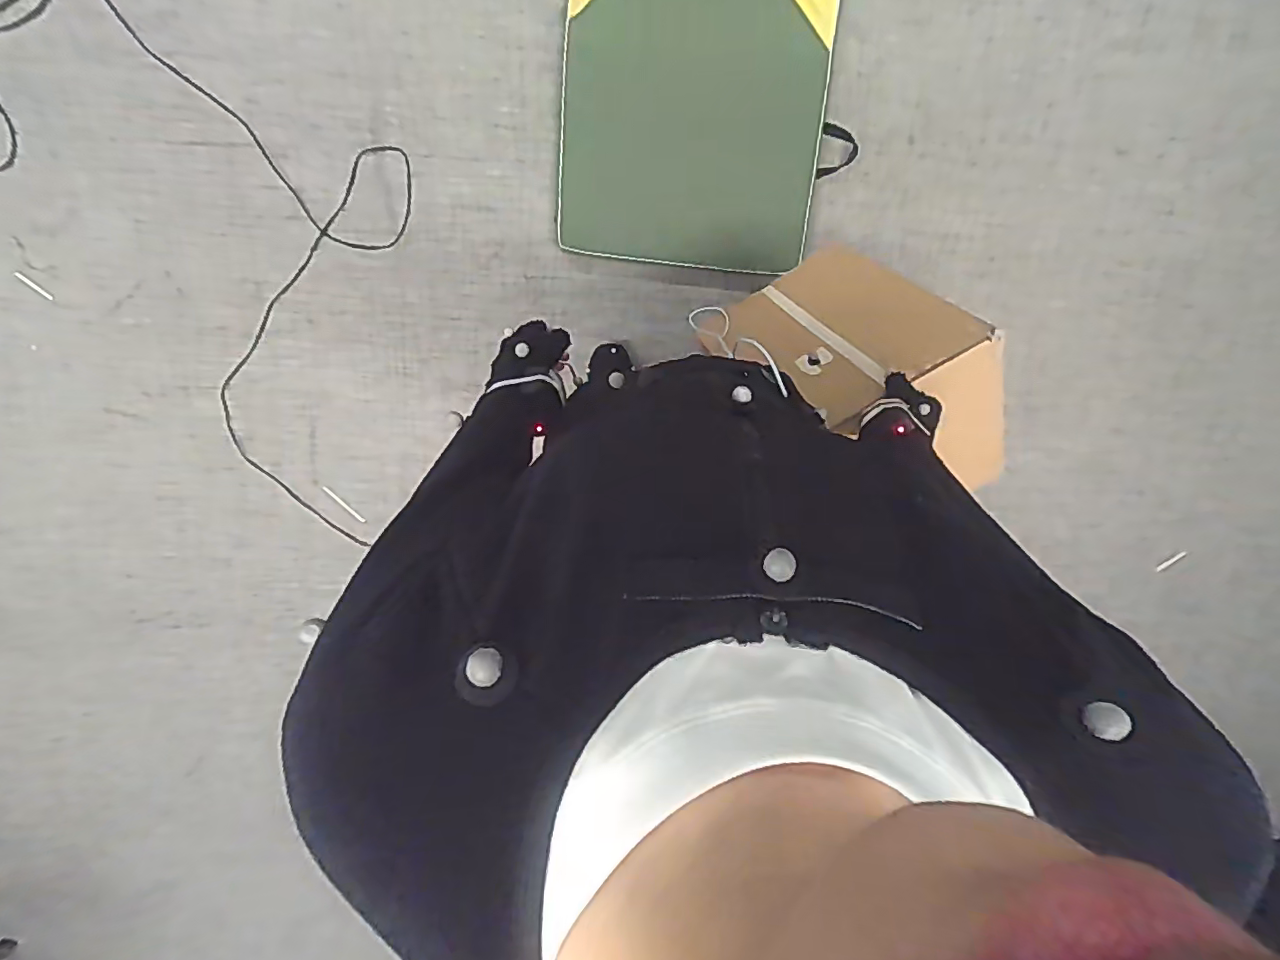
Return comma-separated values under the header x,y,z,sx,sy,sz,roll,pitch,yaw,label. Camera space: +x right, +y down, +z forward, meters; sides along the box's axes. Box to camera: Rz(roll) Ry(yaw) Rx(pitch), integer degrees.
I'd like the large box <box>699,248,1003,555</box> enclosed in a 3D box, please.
x,y,z,sx,sy,sz,roll,pitch,yaw,label
0.360,-0.150,0.973,0.320,0.408,0.320,-32,131,6,large box
